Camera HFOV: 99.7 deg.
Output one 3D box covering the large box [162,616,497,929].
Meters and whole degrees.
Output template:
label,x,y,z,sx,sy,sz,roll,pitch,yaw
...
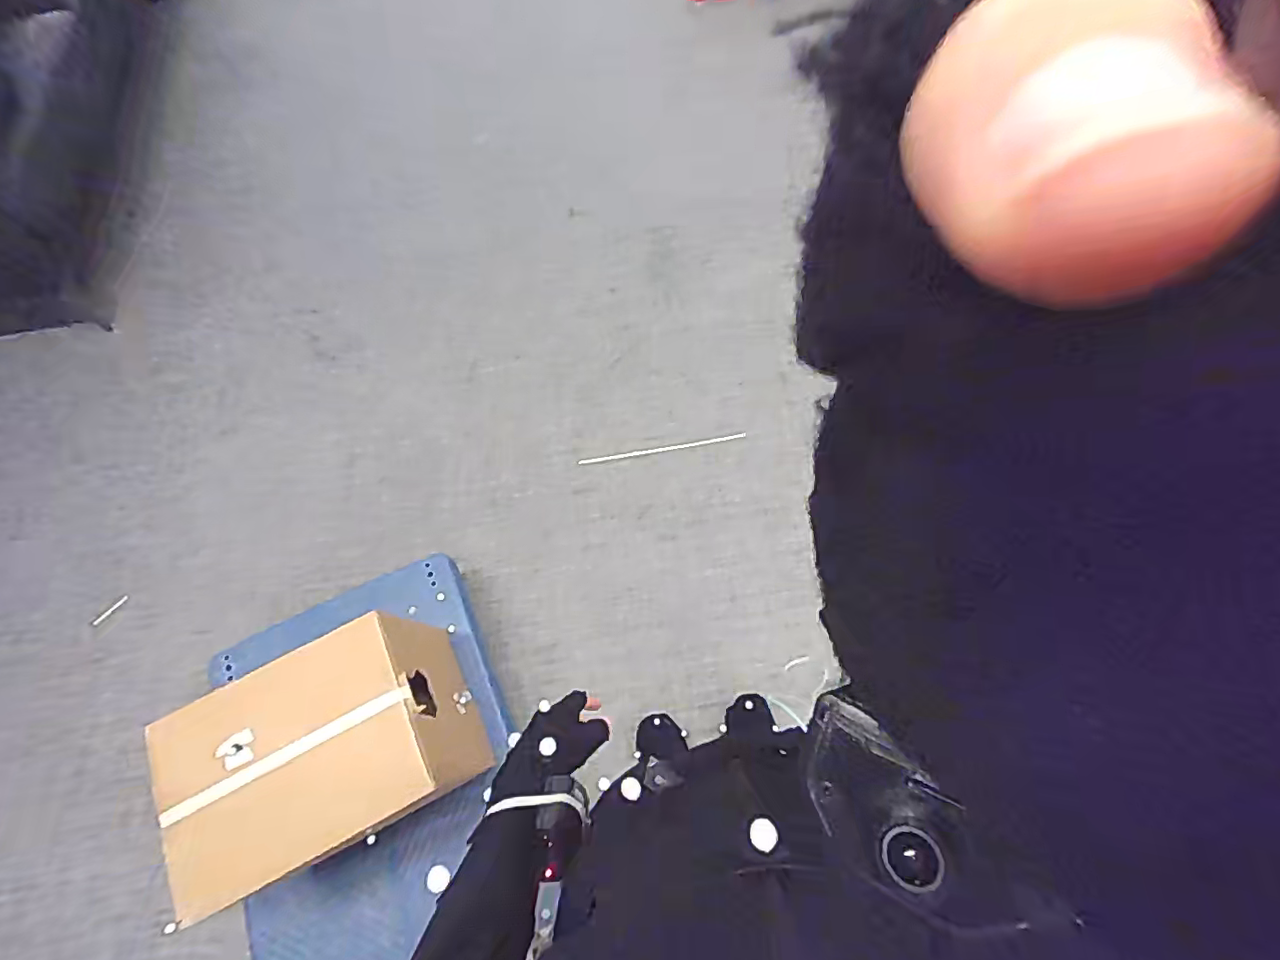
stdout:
label,x,y,z,sx,sy,sz,roll,pitch,yaw
large box,-0.545,0.503,1.011,0.408,0.320,0.320,-28,68,-6
